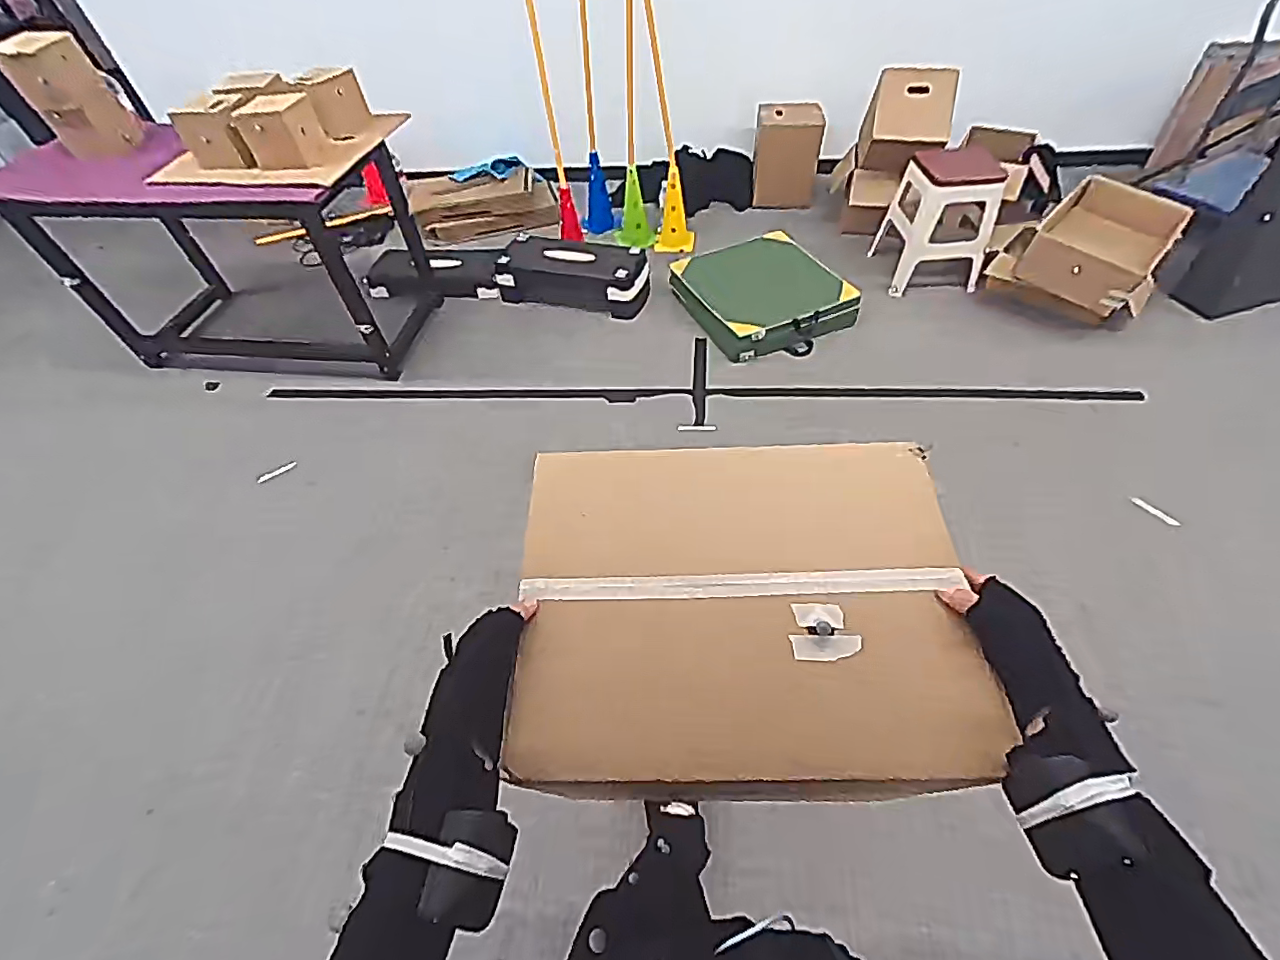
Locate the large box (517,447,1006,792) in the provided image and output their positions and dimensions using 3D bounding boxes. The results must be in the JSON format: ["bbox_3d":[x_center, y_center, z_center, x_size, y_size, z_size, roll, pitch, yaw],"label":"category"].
[{"bbox_3d":[0.099,0.180,0.639,0.408,0.320,0.320,-2,58,2],"label":"large box"}]
